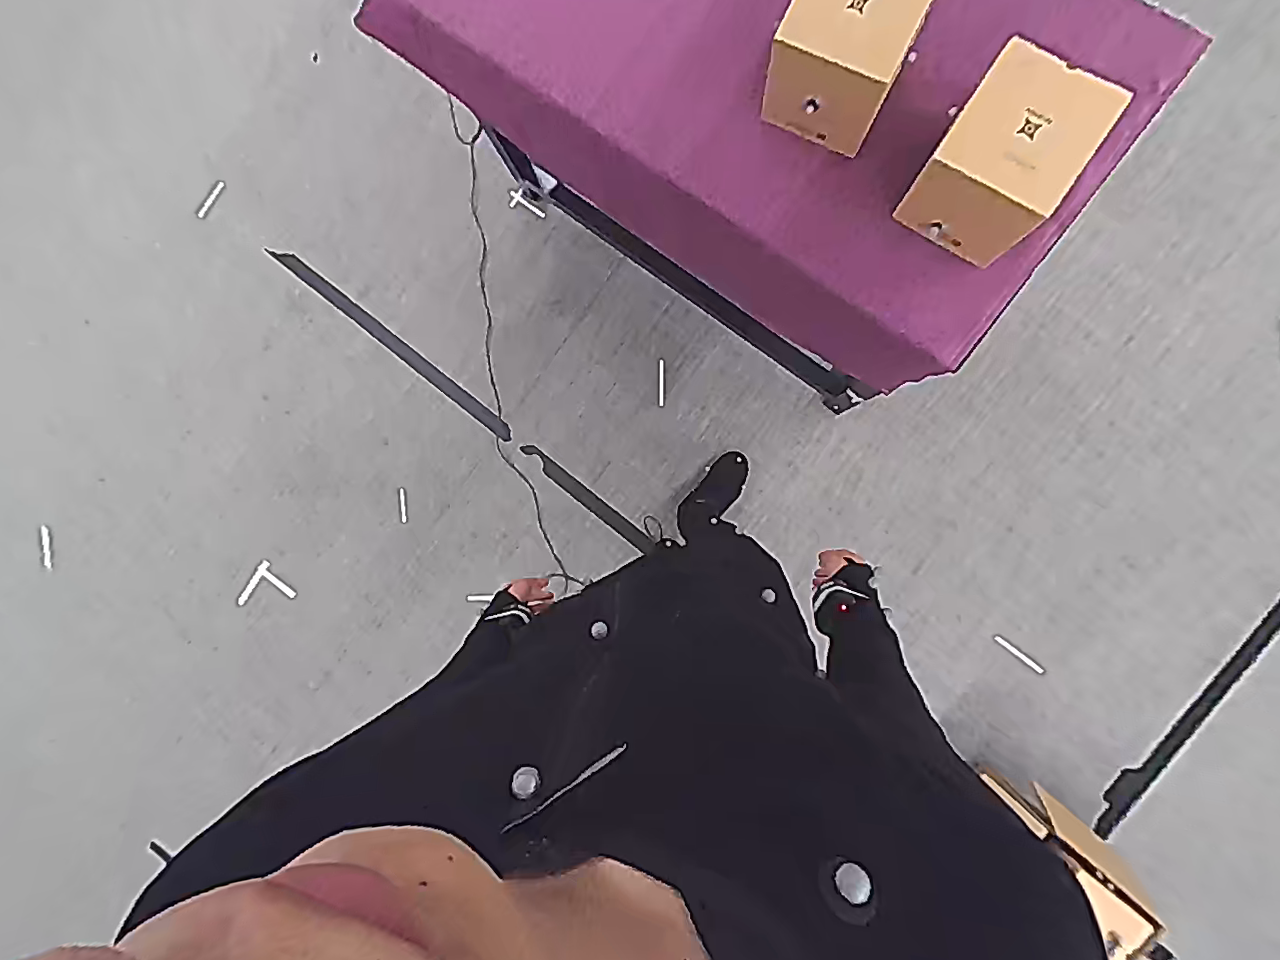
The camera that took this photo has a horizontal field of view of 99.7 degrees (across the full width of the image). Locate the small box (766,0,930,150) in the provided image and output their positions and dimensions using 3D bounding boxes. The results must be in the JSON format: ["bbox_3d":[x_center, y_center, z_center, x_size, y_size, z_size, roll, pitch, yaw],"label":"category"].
[{"bbox_3d":[0.296,-0.628,0.784,0.168,0.176,0.179,28,93,6],"label":"small box"}]

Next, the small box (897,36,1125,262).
[{"bbox_3d":[0.499,-0.448,0.761,0.168,0.176,0.179,33,93,6],"label":"small box"}]
